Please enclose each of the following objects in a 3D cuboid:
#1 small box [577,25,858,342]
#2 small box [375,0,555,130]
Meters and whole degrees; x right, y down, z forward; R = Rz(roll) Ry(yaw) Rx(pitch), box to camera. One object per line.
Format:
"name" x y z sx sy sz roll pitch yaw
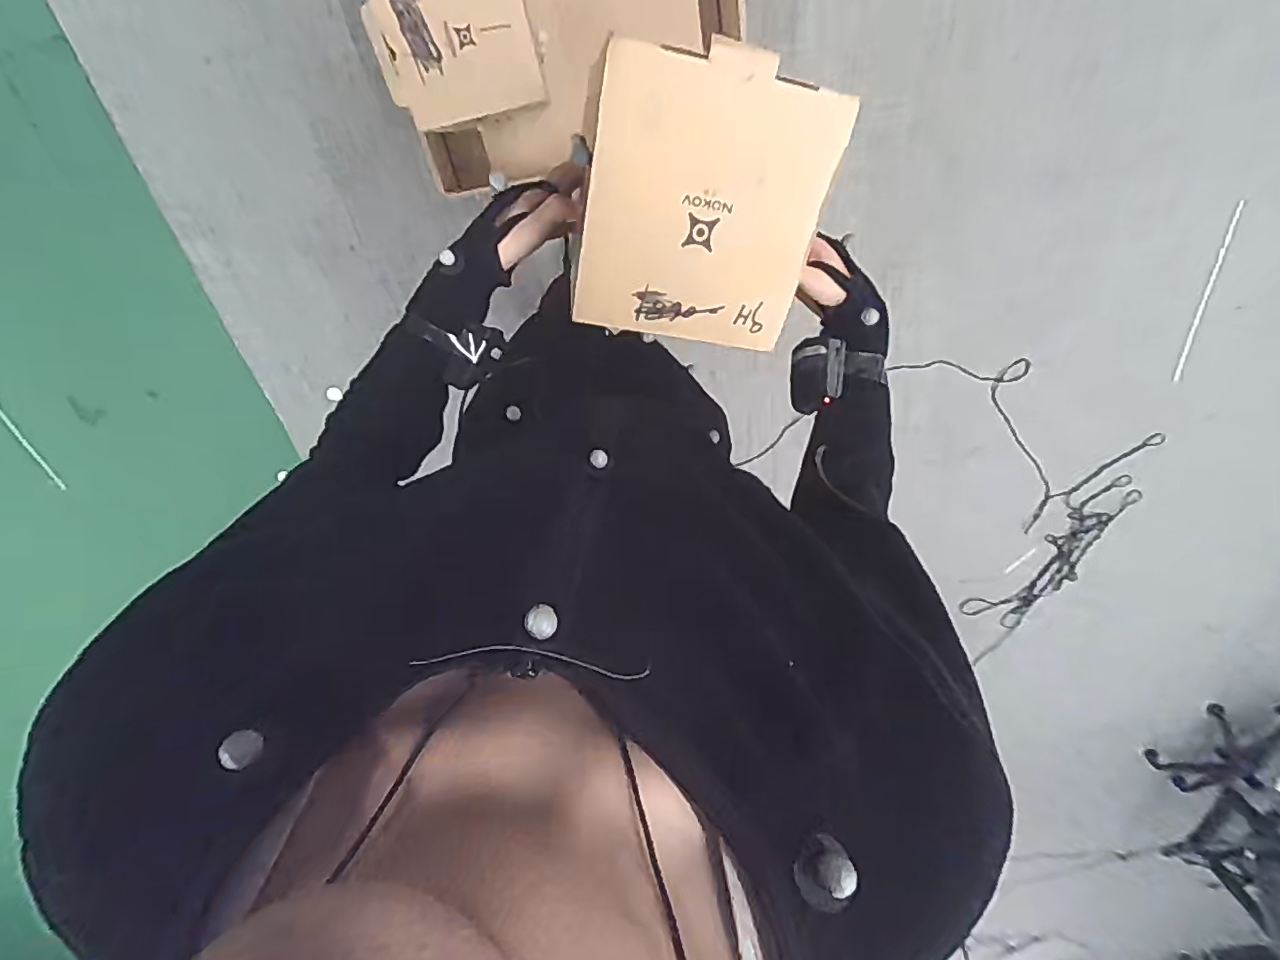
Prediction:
"small box" 0.039 -0.238 0.444 0.168 0.176 0.179 6 126 -10
"small box" -0.221 -0.581 0.722 0.179 0.176 0.168 -13 124 2
